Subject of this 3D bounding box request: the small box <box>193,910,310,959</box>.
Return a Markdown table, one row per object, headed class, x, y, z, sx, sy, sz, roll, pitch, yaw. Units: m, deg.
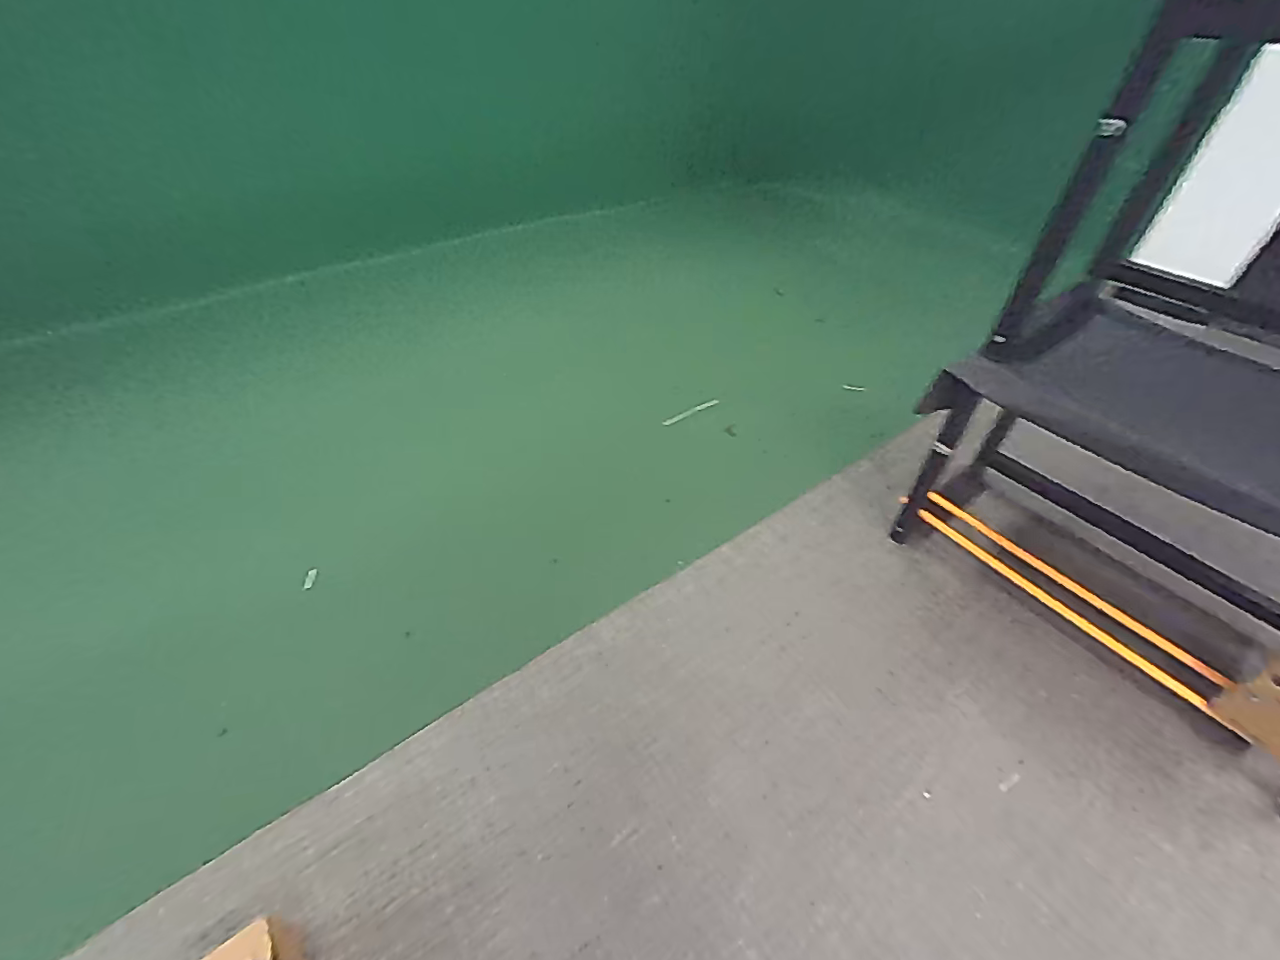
| class | x | y | z | sx | sy | sz | roll | pitch | yaw |
| --- | --- | --- | --- | --- | --- | --- | --- | --- | --- |
| small box | -0.741 | 0.969 | 1.022 | 0.179 | 0.176 | 0.168 | -29 | 51 | -26 |
